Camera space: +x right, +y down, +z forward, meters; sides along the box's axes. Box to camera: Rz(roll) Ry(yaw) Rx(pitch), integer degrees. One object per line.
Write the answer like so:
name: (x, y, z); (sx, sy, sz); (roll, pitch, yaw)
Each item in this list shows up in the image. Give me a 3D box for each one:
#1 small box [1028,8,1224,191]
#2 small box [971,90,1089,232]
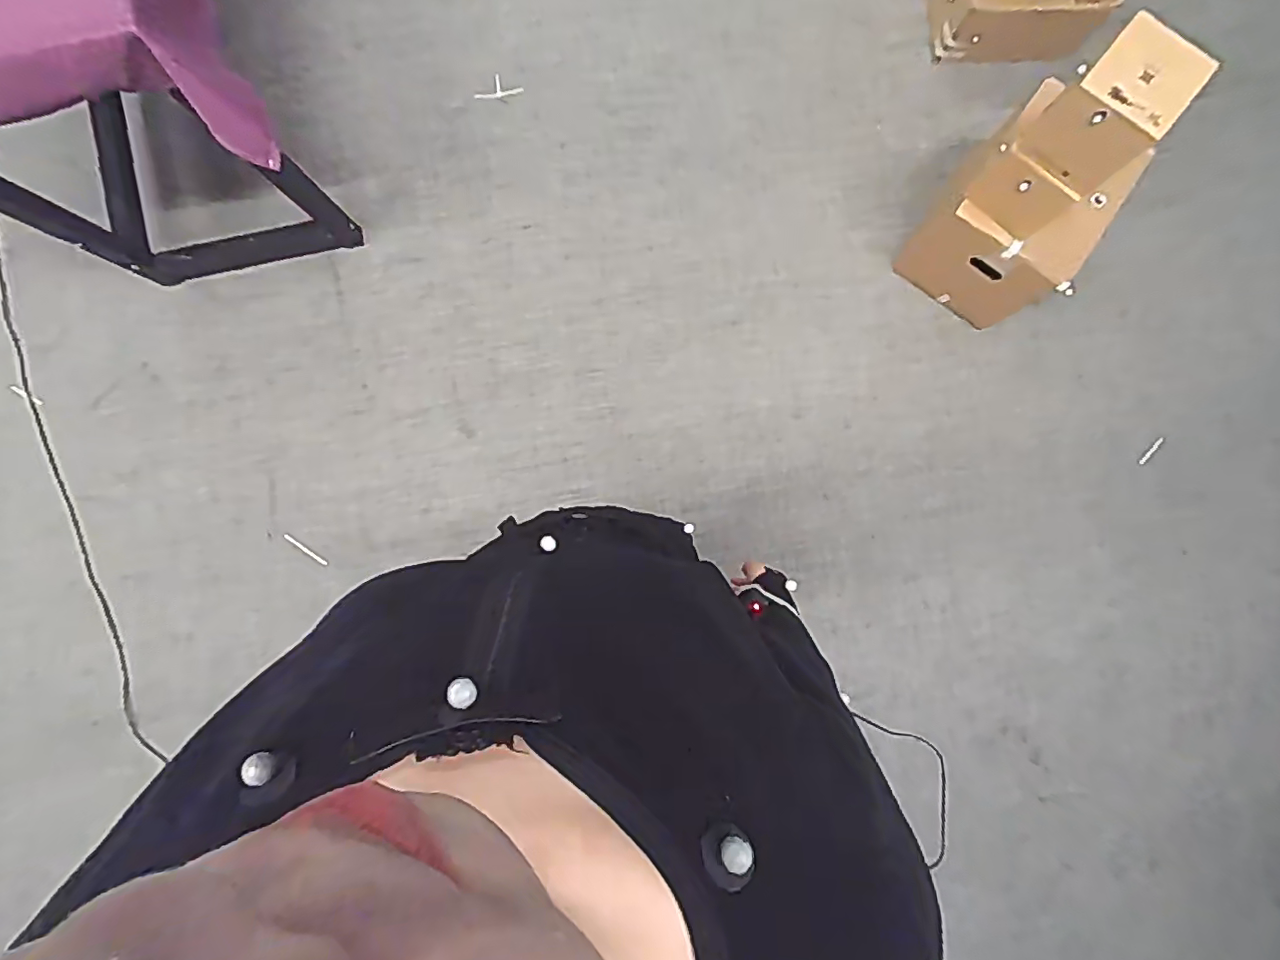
small box: (0.874, -0.685, 0.994); (0.168, 0.176, 0.179); (40, 88, 4)
small box: (0.869, -0.667, 1.158); (0.179, 0.176, 0.168); (44, 89, 4)
